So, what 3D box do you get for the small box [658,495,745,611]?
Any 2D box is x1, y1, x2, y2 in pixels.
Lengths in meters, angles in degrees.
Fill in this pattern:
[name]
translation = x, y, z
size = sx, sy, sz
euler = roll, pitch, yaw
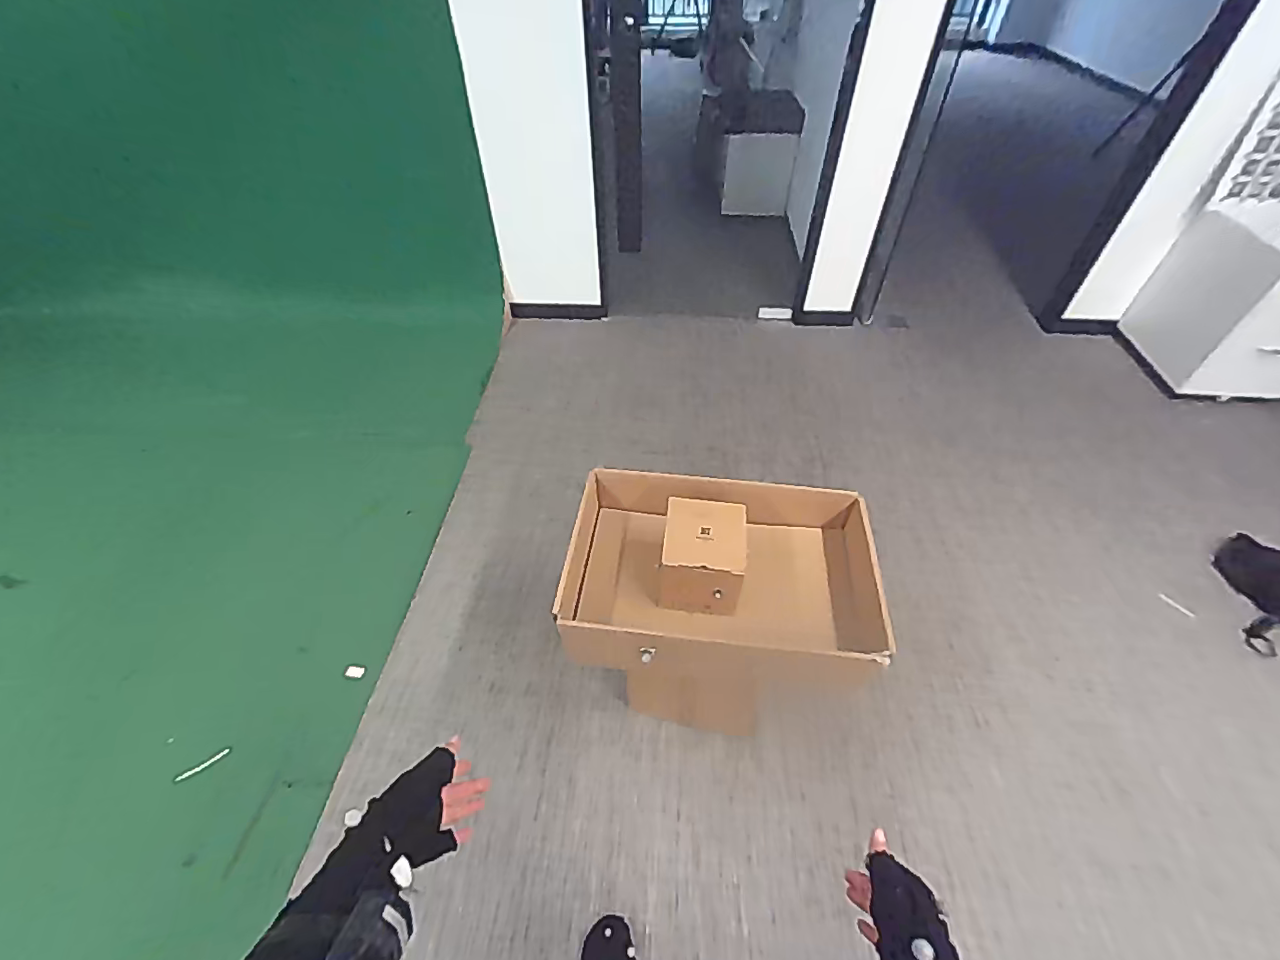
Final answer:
[small box]
translation = 0.129, 0.158, 1.149
size = 0.168, 0.176, 0.179
euler = 6, 46, 3
